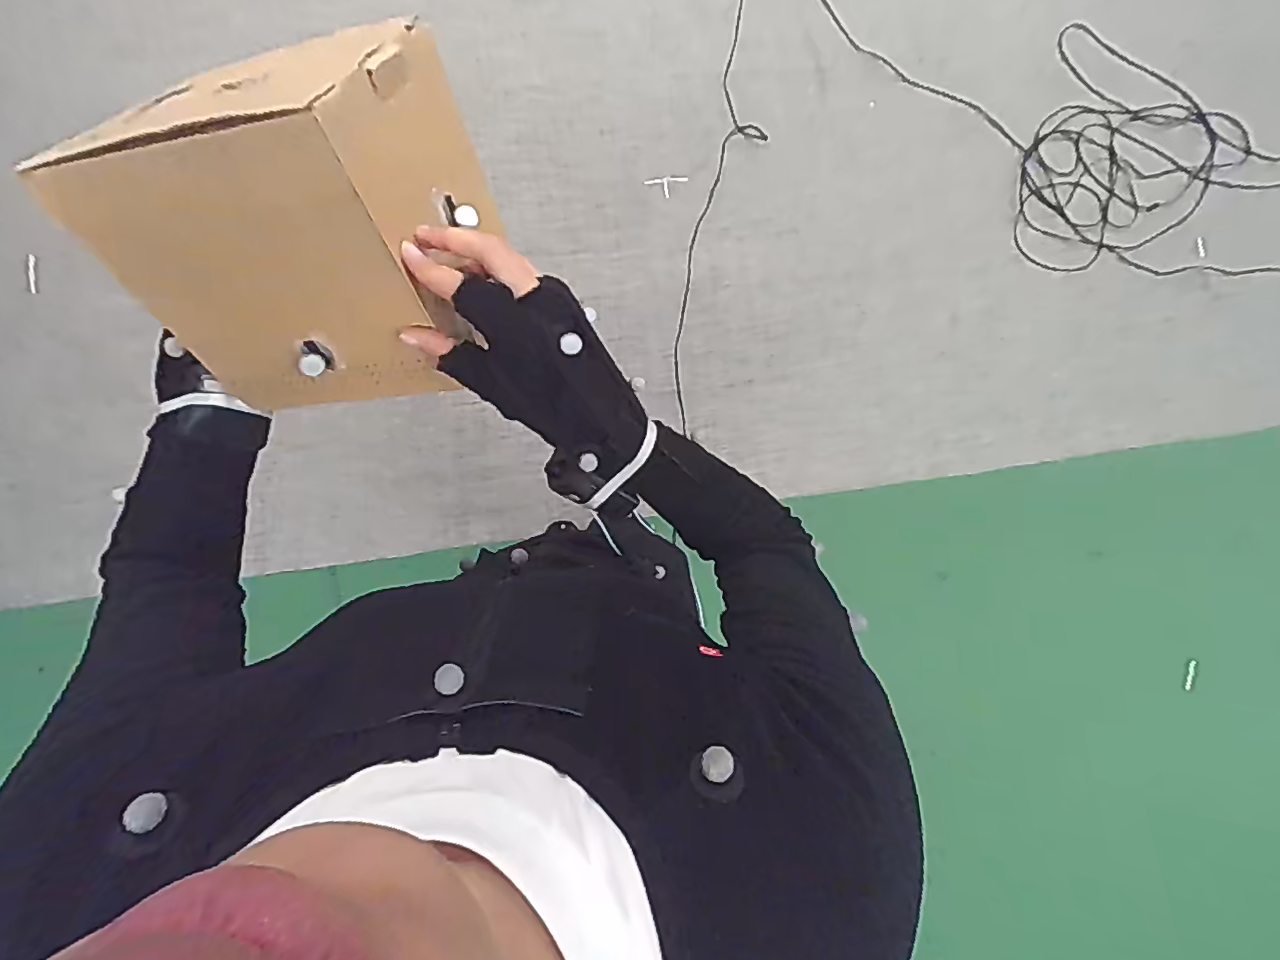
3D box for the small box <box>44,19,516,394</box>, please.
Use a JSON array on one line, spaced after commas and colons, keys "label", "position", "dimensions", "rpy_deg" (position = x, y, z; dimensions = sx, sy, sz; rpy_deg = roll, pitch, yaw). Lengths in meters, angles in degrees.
[{"label": "small box", "position": [-0.205, -0.178, 0.375], "dimensions": [0.179, 0.176, 0.168], "rpy_deg": [-4, 49, 11]}]
